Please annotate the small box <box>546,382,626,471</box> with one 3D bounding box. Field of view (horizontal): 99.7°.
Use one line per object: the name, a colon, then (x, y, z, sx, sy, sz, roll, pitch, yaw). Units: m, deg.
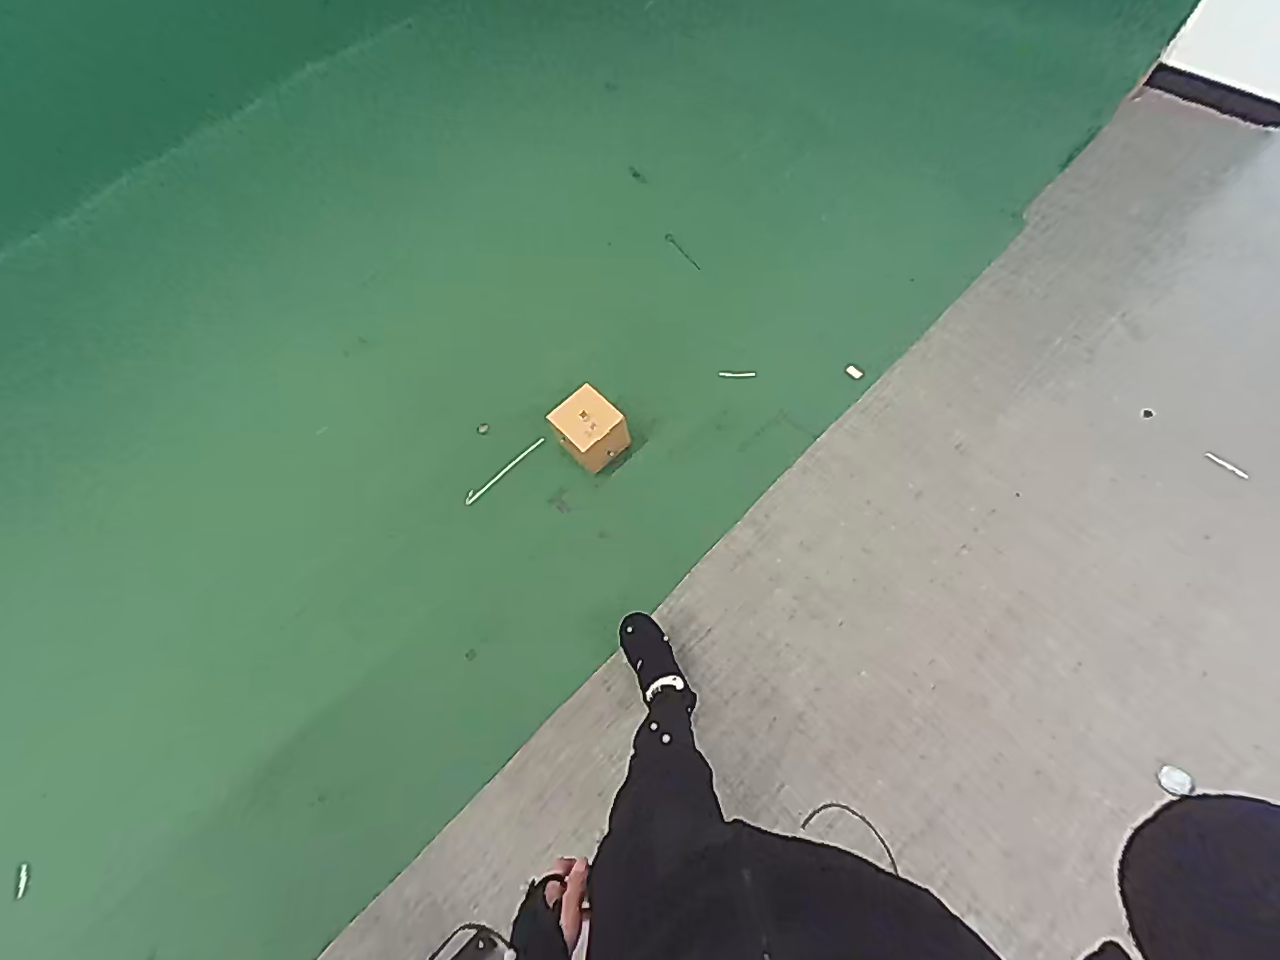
small box: (-0.161, -0.159, 1.666, 0.168, 0.176, 0.179, -42, 70, -13)
